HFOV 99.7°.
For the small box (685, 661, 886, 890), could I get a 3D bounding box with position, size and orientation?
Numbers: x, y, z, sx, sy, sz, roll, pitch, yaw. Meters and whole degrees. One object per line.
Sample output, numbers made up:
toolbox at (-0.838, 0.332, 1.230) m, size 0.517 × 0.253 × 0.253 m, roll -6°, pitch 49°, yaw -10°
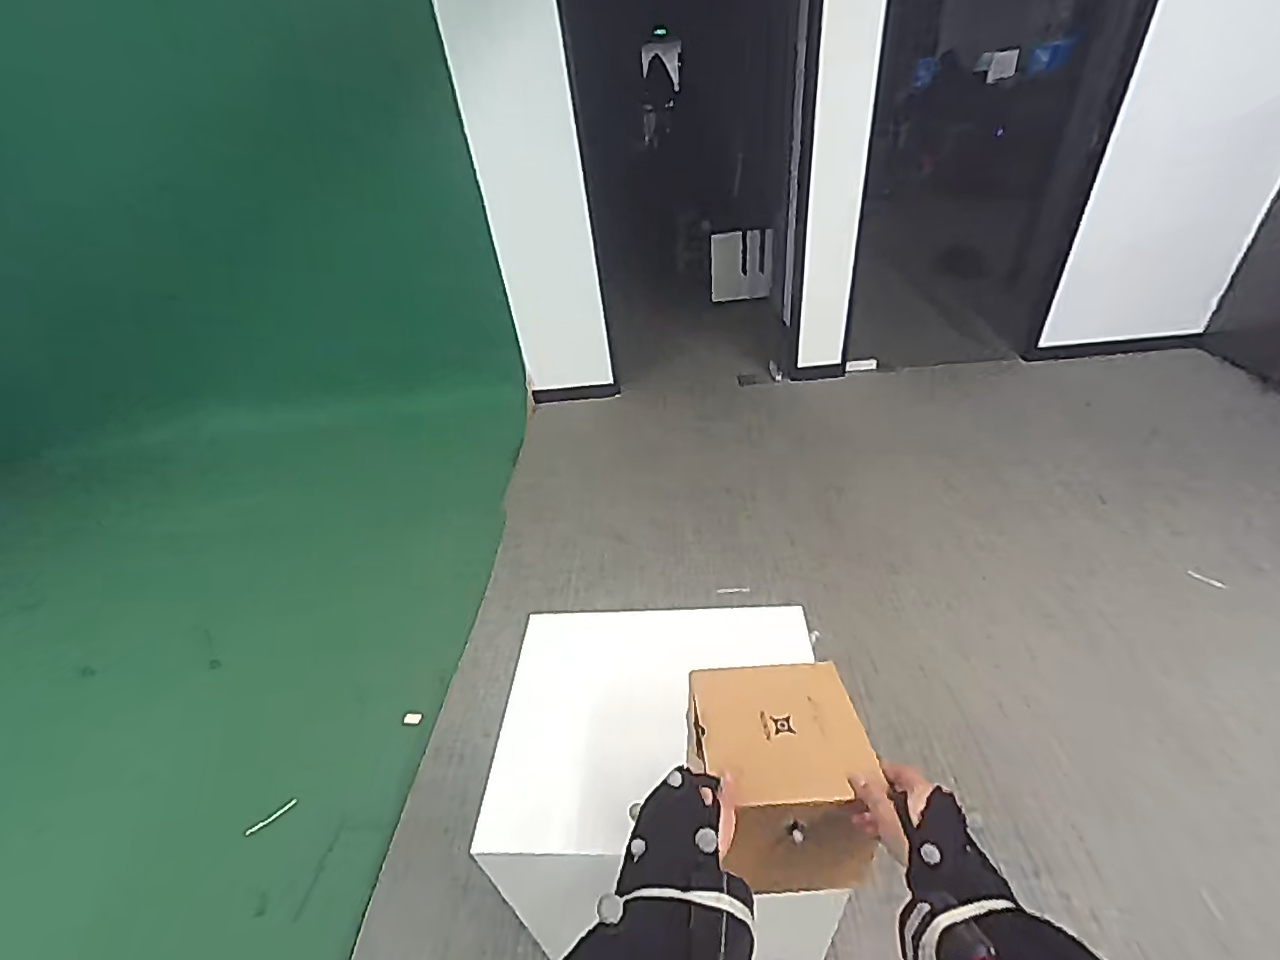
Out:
small box at (0.145, 0.330, 0.611) m, size 0.179 × 0.176 × 0.168 m, roll -2°, pitch 29°, yaw -2°
